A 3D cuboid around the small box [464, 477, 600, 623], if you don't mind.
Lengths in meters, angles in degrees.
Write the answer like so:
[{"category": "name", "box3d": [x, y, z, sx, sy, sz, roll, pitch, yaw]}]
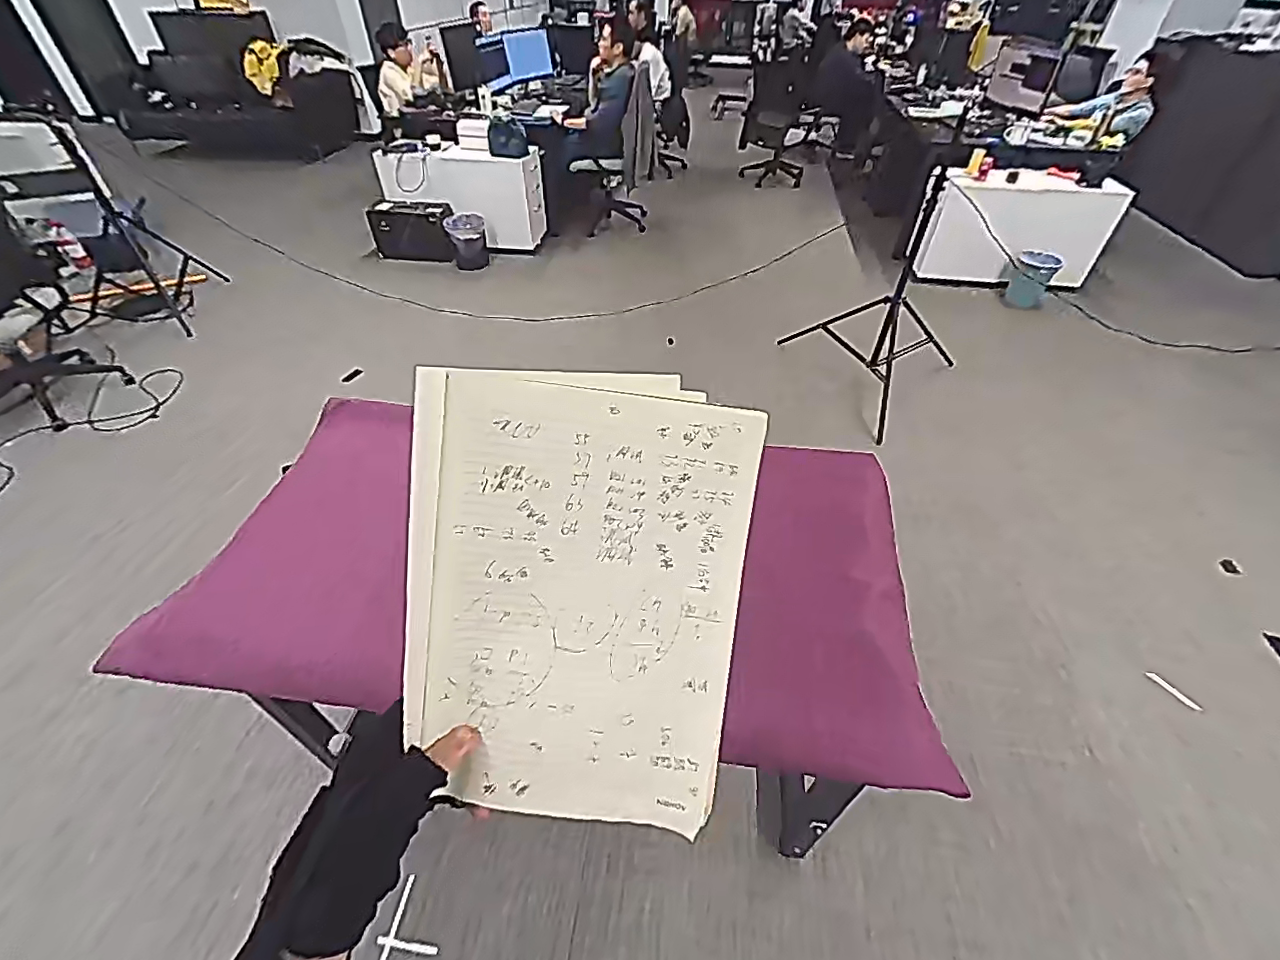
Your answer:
[{"category": "small box", "box3d": [-0.165, 0.119, 0.901, 0.179, 0.176, 0.168, 6, 43, 5]}]
